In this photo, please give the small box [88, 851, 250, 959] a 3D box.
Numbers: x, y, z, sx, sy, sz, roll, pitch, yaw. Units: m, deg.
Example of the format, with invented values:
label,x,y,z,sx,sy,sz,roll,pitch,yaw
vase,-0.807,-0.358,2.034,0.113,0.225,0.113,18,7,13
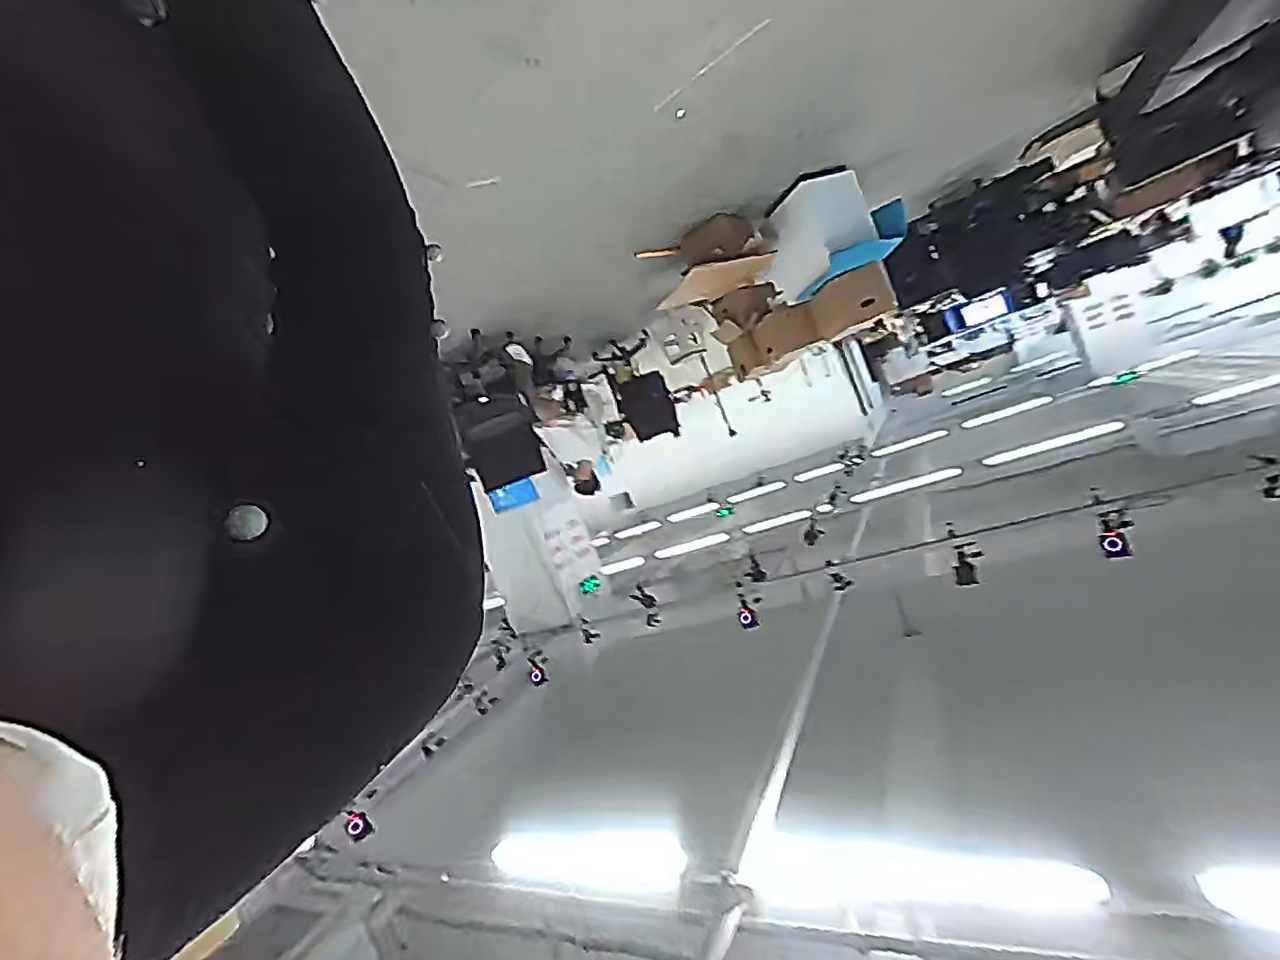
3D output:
label,x,y,z,sx,sy,sz,roll,pitch,yaw
small box,-0.914,0.850,1.050,0.179,0.176,0.168,-20,-177,29
